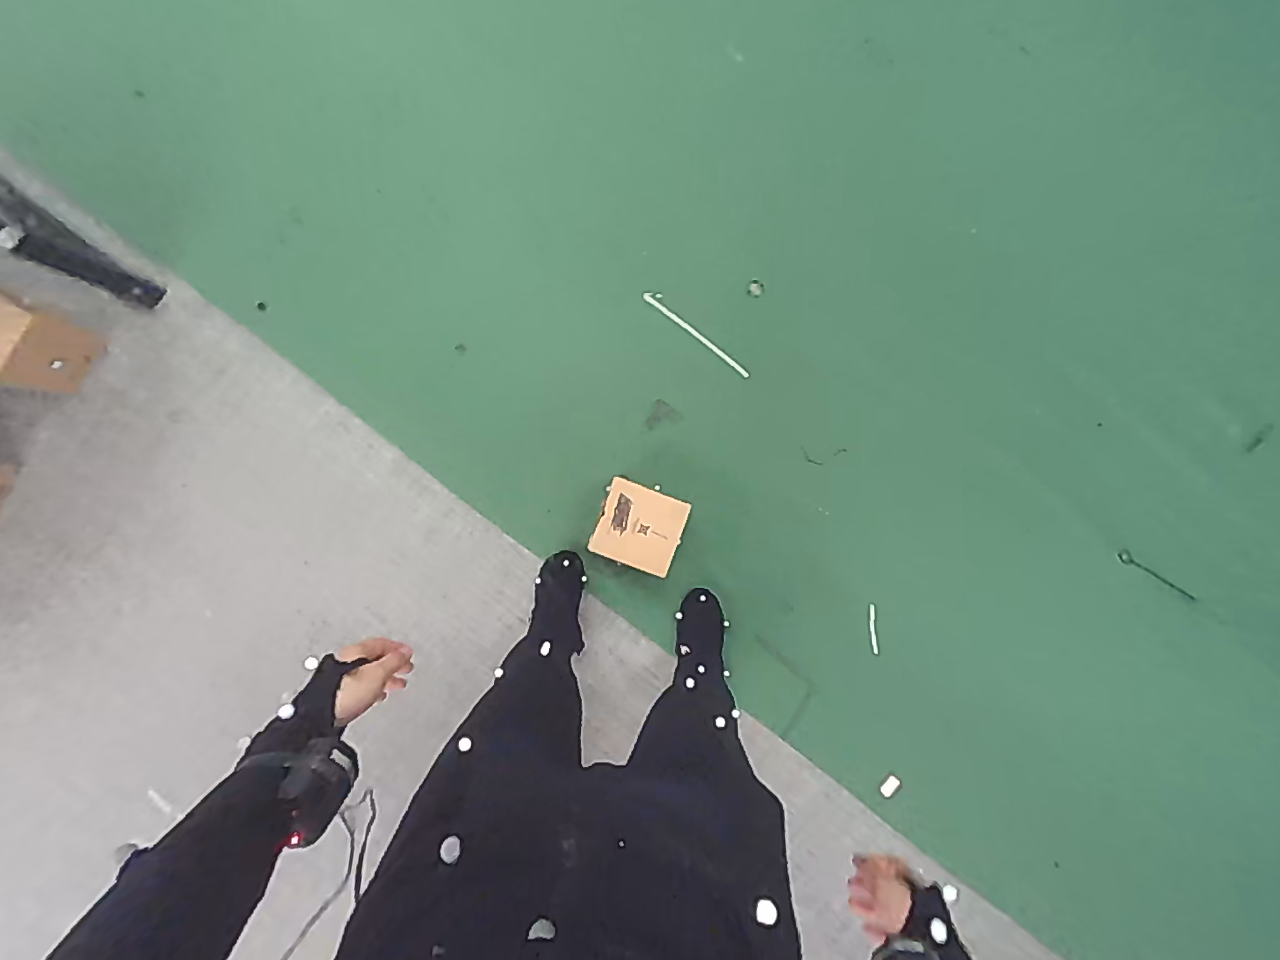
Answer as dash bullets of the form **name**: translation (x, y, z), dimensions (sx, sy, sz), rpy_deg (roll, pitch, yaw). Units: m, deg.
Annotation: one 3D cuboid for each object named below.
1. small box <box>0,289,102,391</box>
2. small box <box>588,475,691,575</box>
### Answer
- **small box**: translation (-1.376, -0.312, 1.197), dimensions (0.179, 0.176, 0.168), rpy_deg (32, 89, 0)
- **small box**: translation (-0.003, 0.097, 1.208), dimensions (0.179, 0.176, 0.168), rpy_deg (21, 89, -1)
